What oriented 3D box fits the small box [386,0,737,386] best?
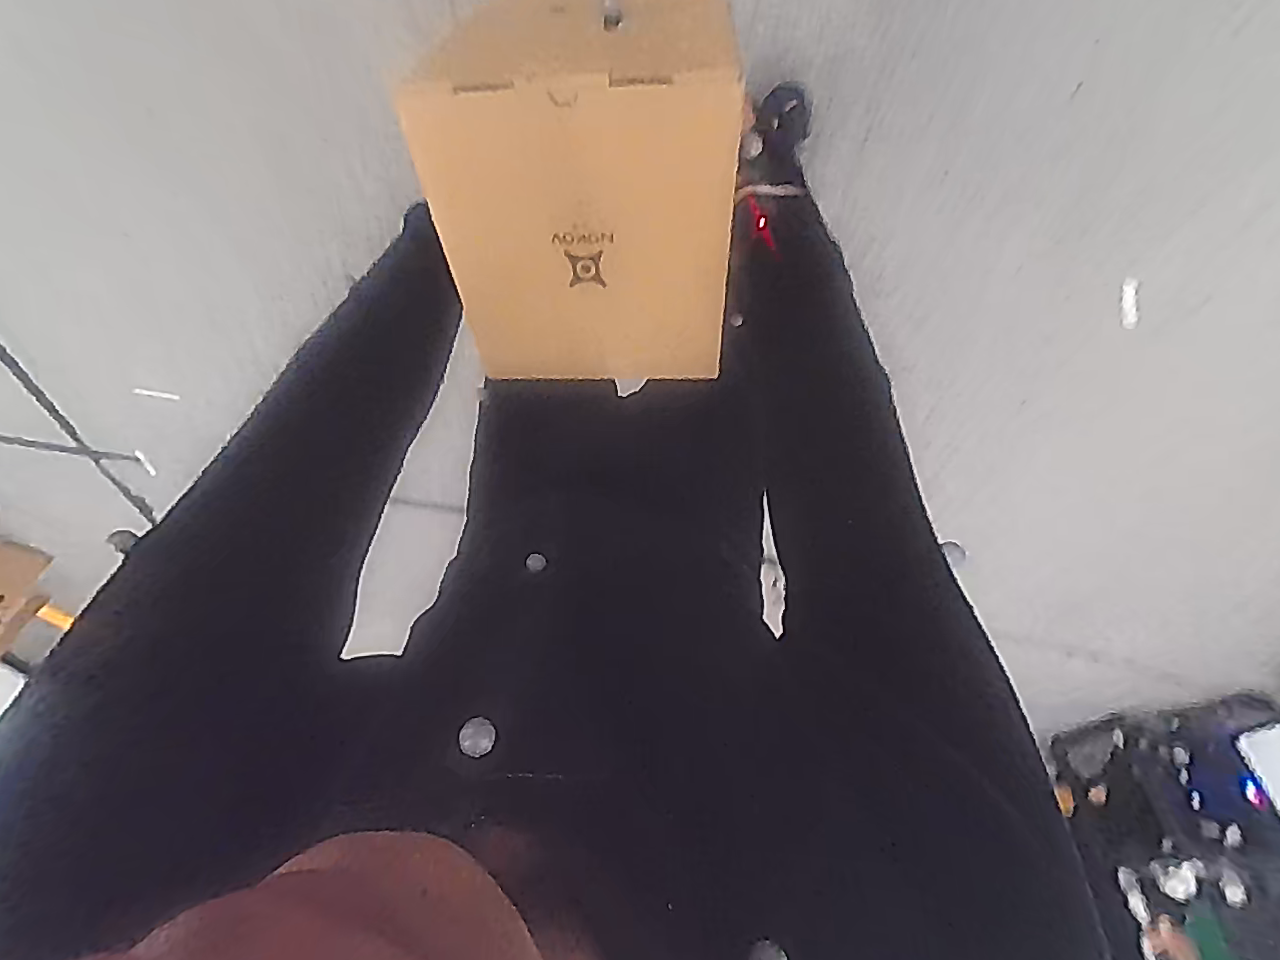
[{"bbox_3d":[-0.027,-0.182,0.358,0.168,0.176,0.179,0,140,5],"label":"small box"}]
